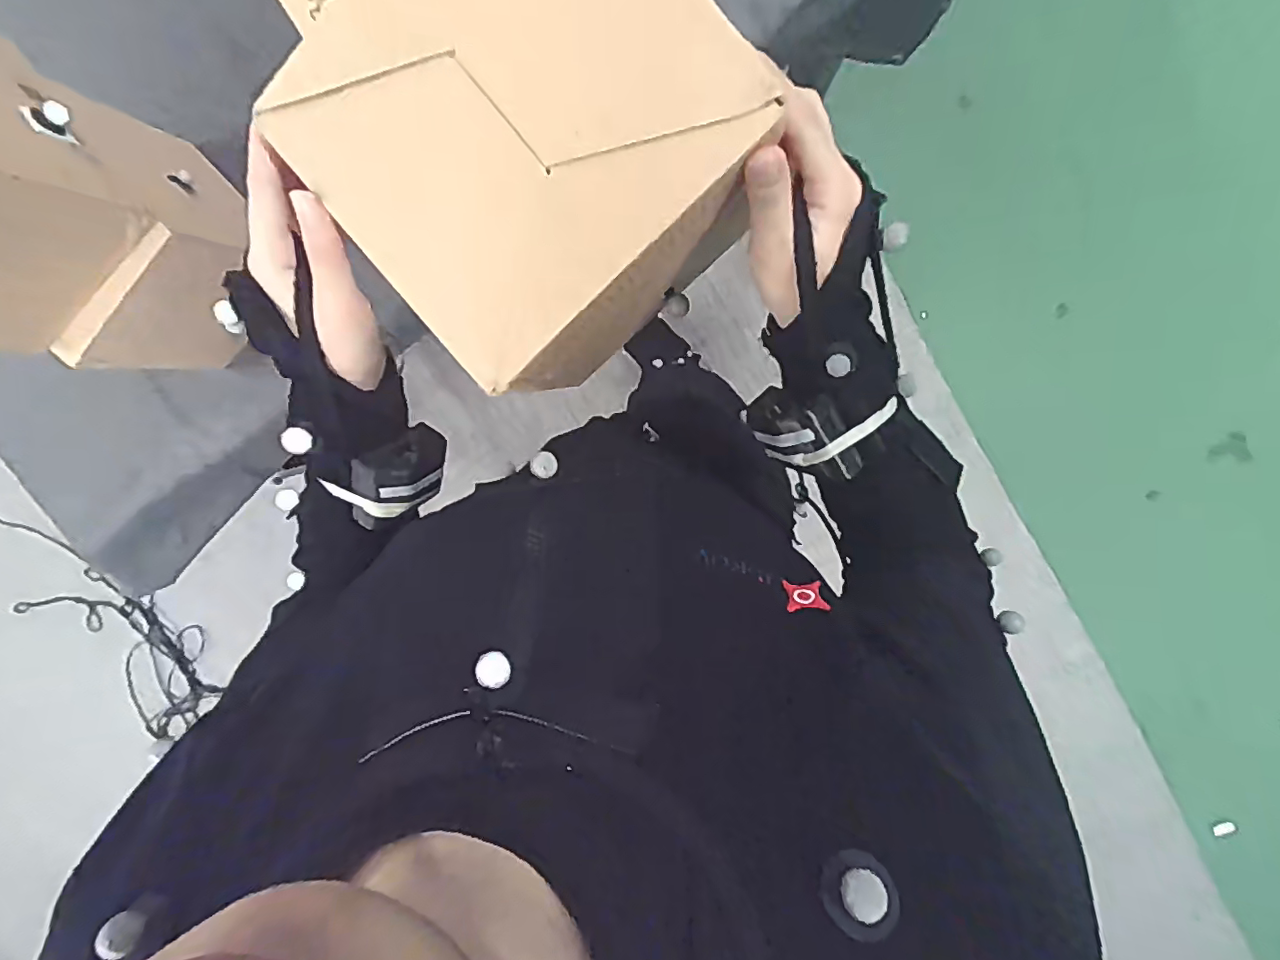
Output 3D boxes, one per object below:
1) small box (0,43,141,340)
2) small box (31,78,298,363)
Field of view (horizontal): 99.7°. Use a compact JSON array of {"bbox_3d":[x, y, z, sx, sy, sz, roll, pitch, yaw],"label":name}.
[{"bbox_3d":[-0.512,-0.209,0.364,0.179,0.176,0.168,-38,98,11],"label":"small box"},{"bbox_3d":[-0.493,-0.229,0.525,0.168,0.176,0.179,-42,97,12],"label":"small box"}]
